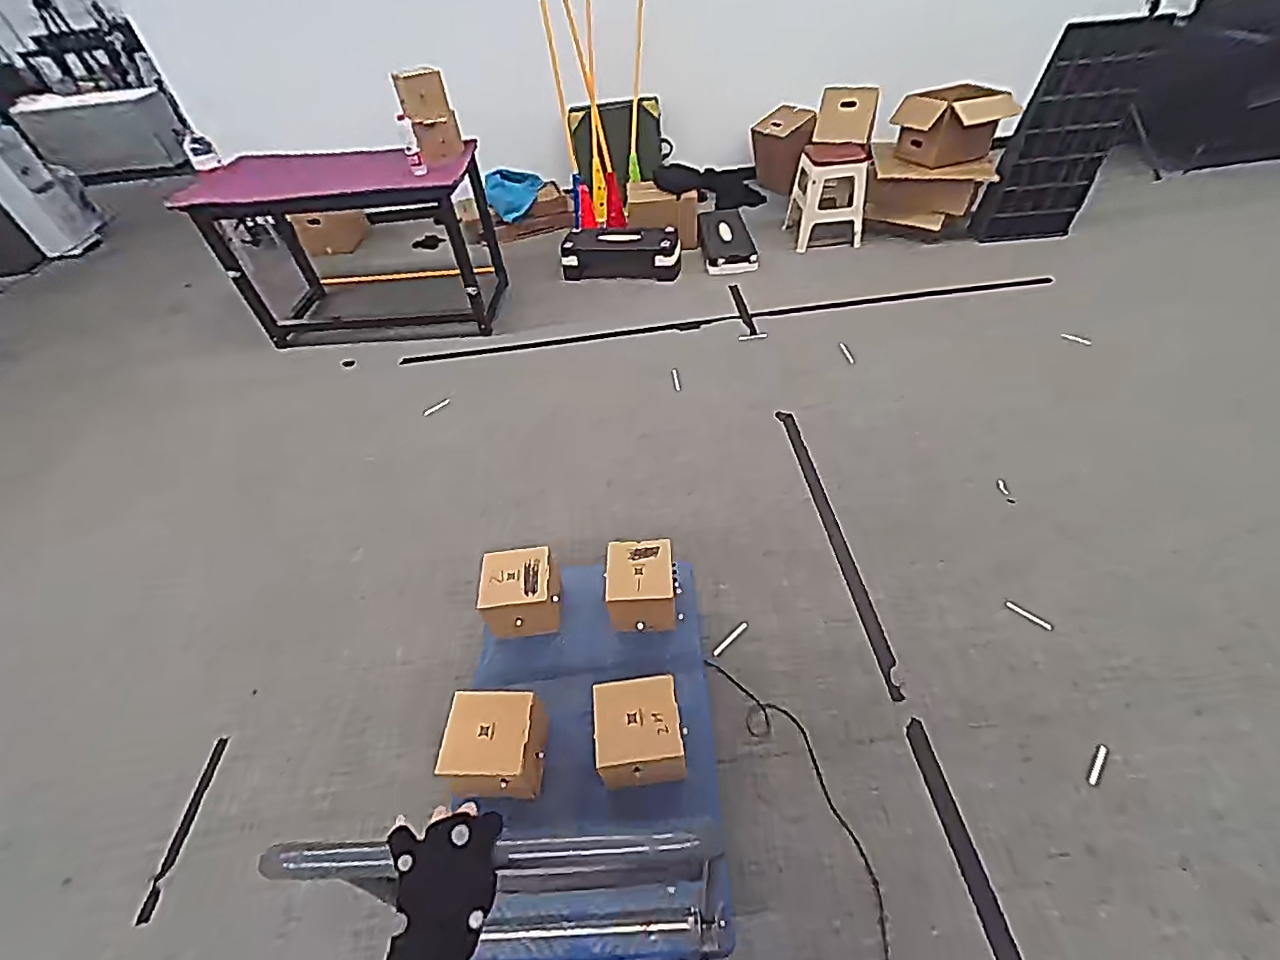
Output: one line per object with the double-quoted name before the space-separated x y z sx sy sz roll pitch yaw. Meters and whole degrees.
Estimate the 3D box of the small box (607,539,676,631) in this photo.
"small box" 0.008 0.275 1.412 0.168 0.176 0.179 -4 48 3

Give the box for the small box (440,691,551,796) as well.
"small box" -0.303 0.572 1.169 0.179 0.176 0.168 -2 46 3

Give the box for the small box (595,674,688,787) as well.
"small box" 0.005 0.541 1.163 0.179 0.176 0.168 -8 47 -1
